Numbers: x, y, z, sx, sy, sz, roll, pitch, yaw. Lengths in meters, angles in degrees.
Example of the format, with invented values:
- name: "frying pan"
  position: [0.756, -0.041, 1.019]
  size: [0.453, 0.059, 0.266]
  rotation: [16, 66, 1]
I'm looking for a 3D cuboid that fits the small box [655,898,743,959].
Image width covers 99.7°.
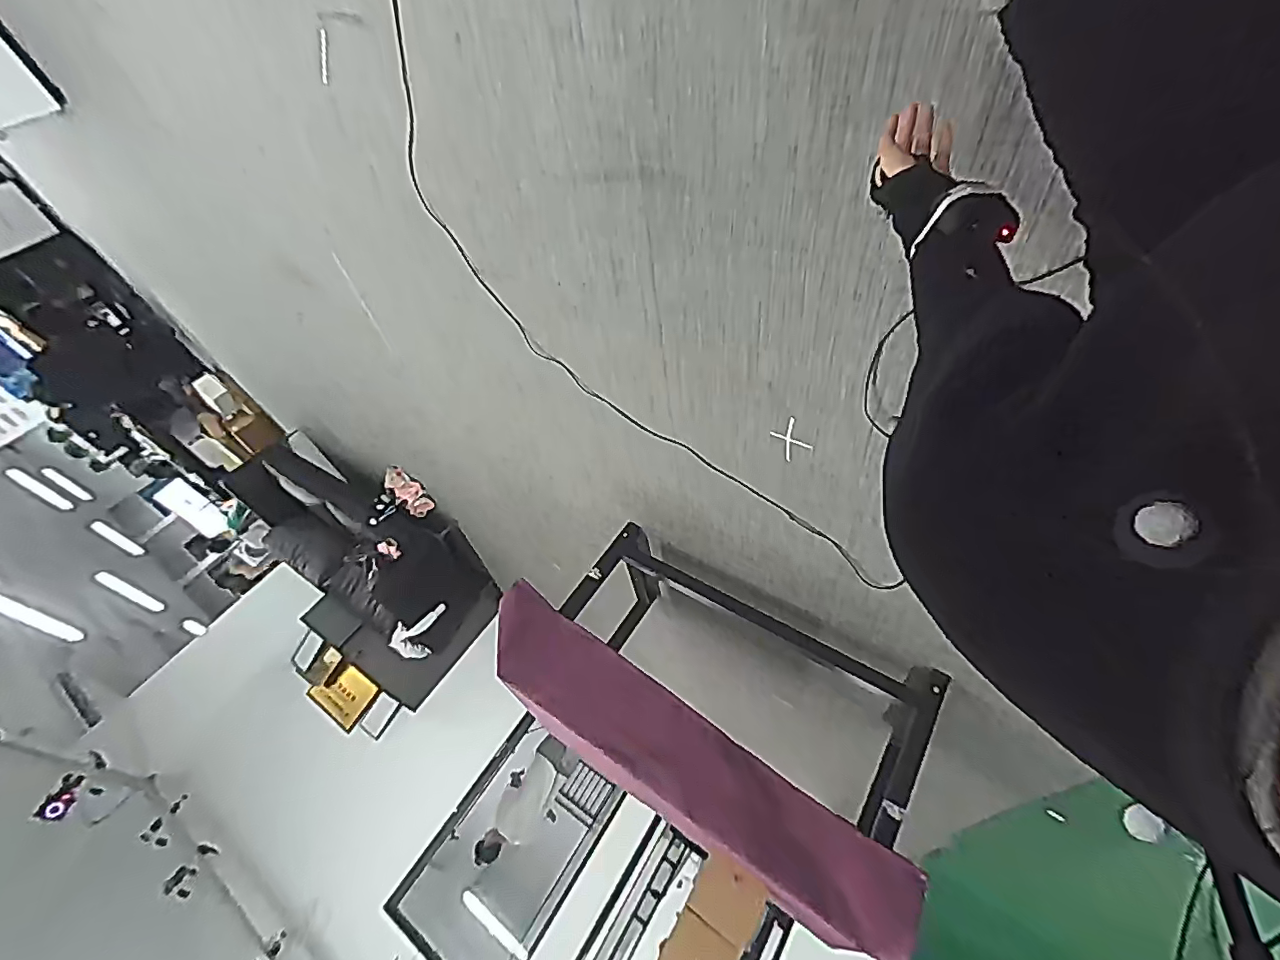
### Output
- name: "small box"
  position: [0.166, 1.288, 1.487]
  size: [0.179, 0.176, 0.168]
  rotation: [22, 148, 28]

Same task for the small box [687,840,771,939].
- name: "small box"
  position: [0.260, 1.175, 1.563]
  size: [0.179, 0.176, 0.168]
  rotation: [23, 148, 29]
